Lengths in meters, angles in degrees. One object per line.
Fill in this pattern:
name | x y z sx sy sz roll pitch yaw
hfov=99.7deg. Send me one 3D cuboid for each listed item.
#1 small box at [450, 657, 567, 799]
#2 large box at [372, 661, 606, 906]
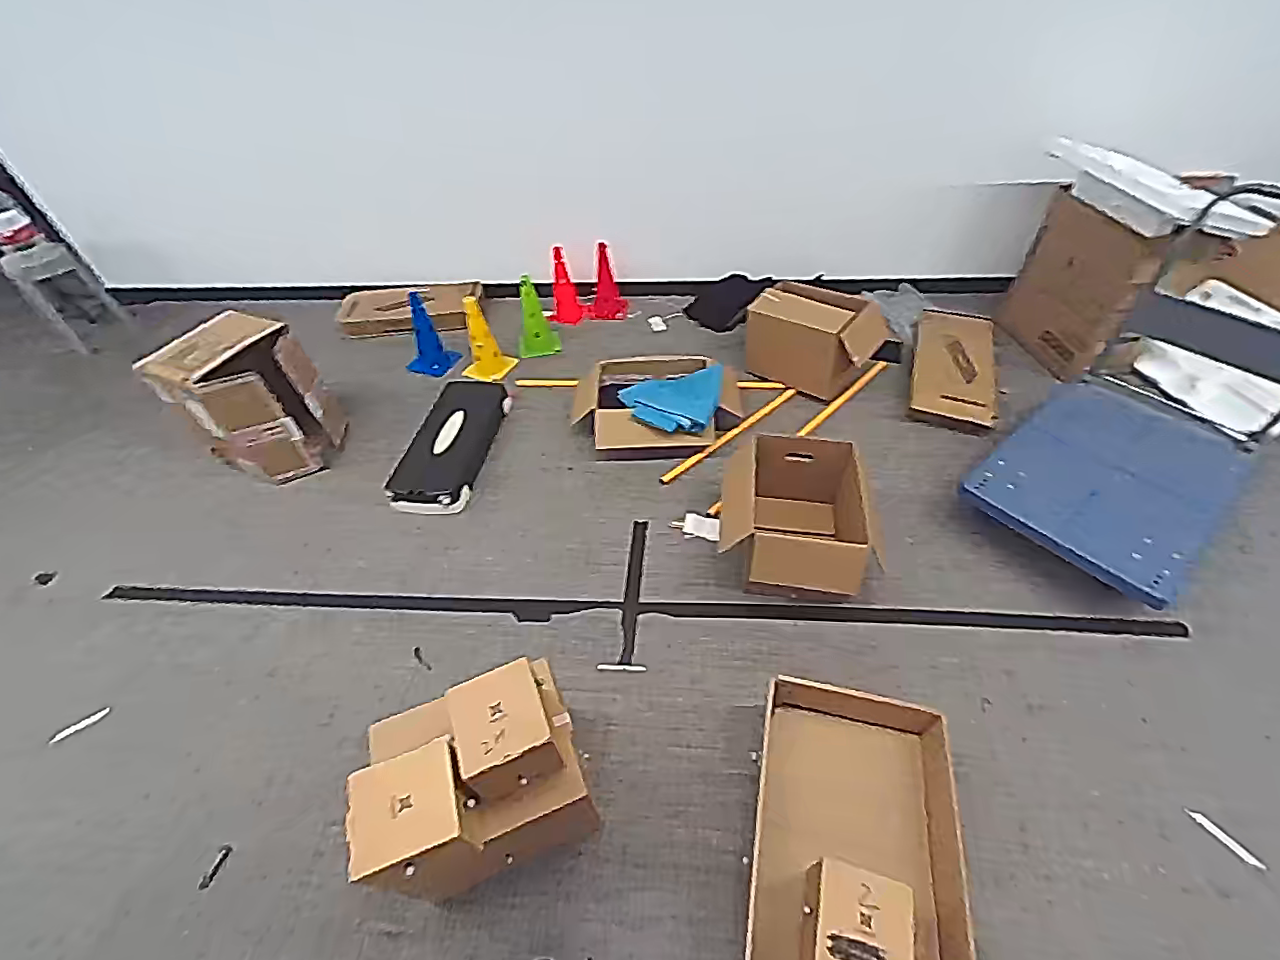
small box | -0.255 0.487 1.061 0.168 0.176 0.179 -20 50 -13
large box | -0.326 0.681 1.222 0.408 0.320 0.320 -20 48 -12
